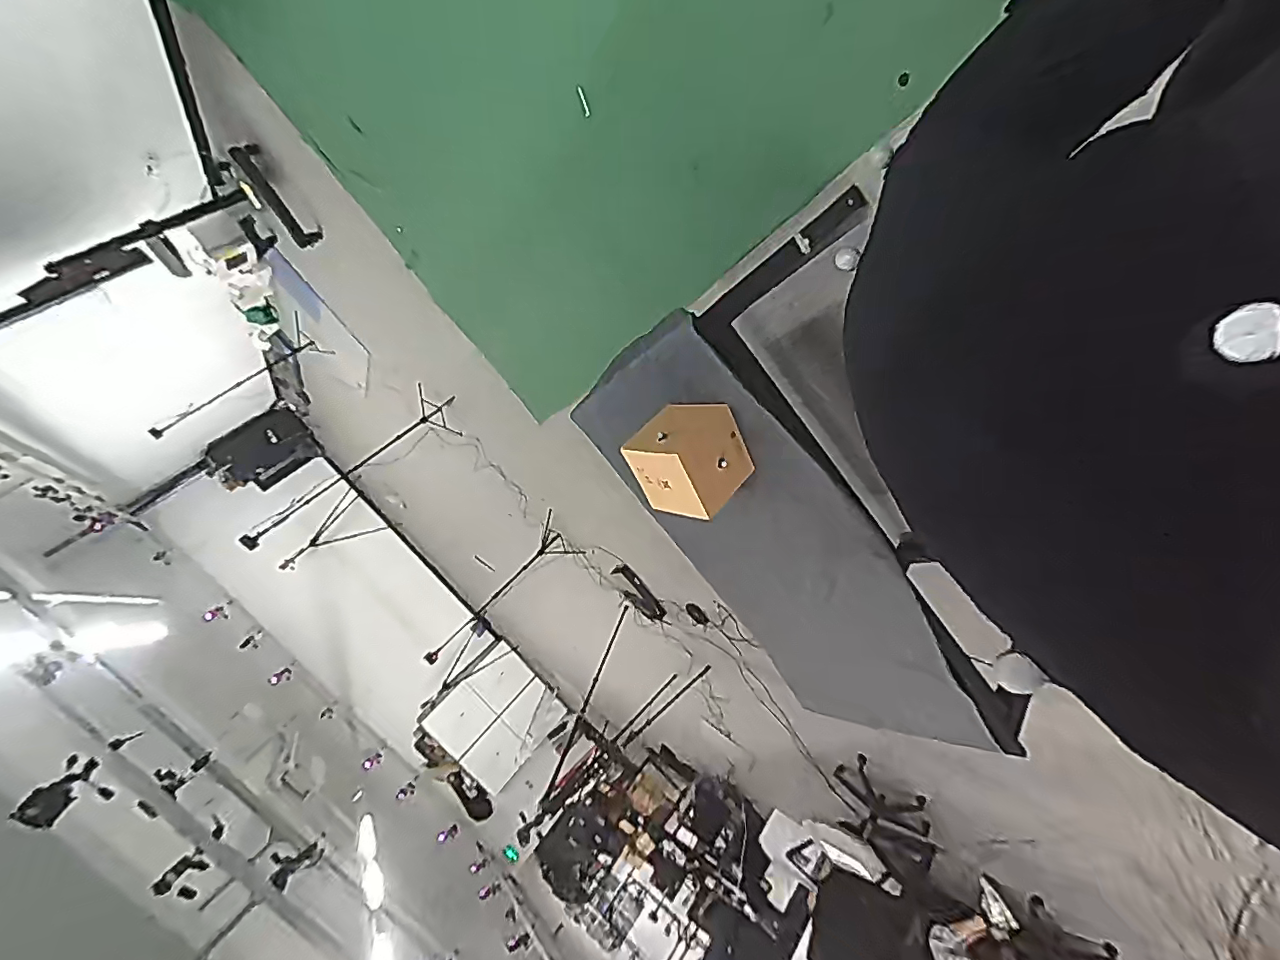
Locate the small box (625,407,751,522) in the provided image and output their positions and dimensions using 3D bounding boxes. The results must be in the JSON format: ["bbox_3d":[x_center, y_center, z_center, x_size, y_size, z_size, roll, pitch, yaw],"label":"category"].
[{"bbox_3d":[0.109,-0.039,1.120,0.179,0.176,0.168,9,135,50],"label":"small box"}]
